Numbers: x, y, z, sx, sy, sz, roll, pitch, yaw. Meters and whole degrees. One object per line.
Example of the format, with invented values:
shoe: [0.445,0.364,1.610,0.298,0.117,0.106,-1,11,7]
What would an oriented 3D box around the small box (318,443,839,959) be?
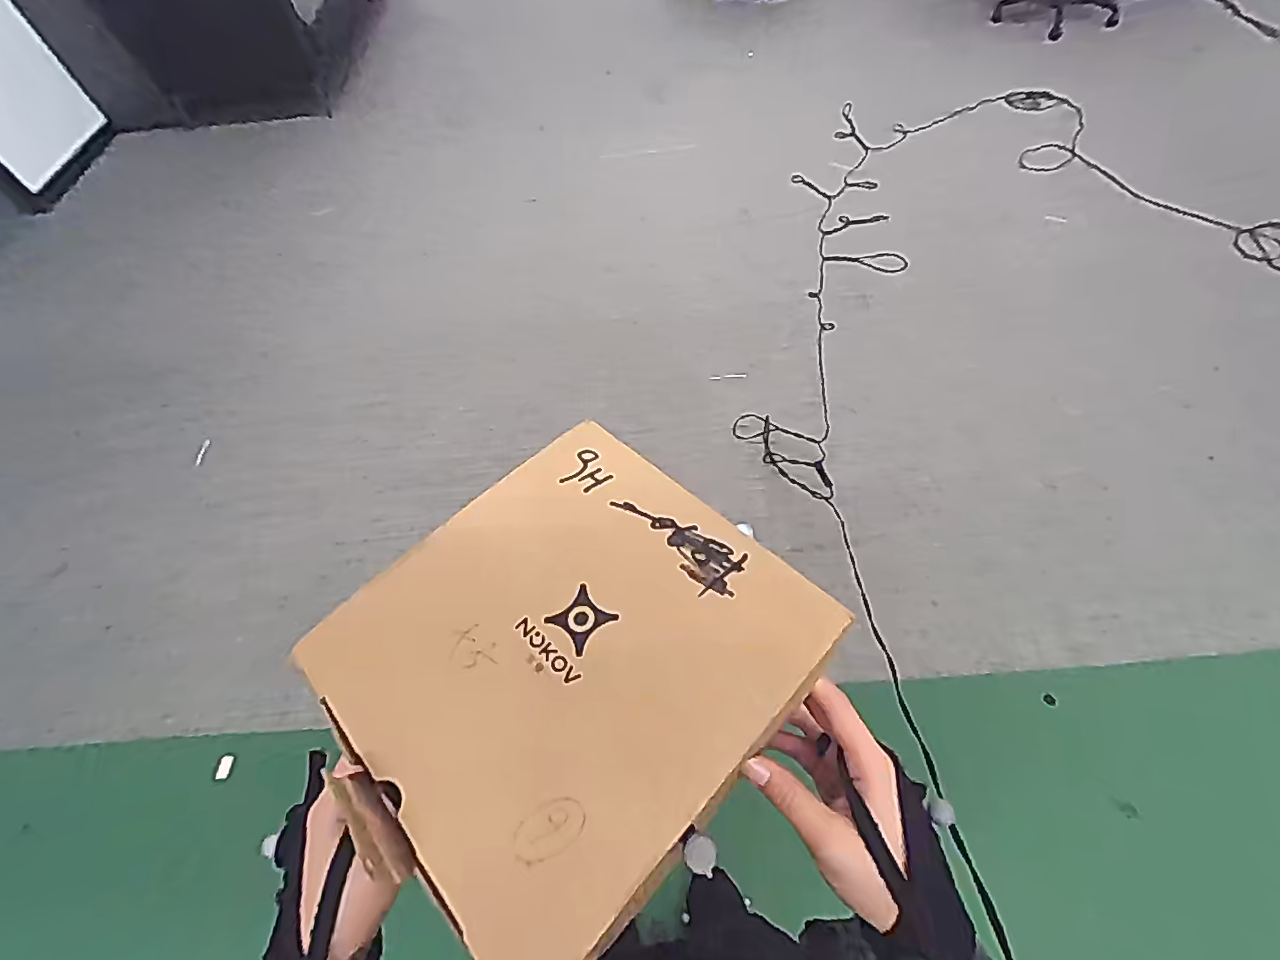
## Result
small box: [-0.022,0.121,0.300,0.168,0.176,0.179,37,66,27]
